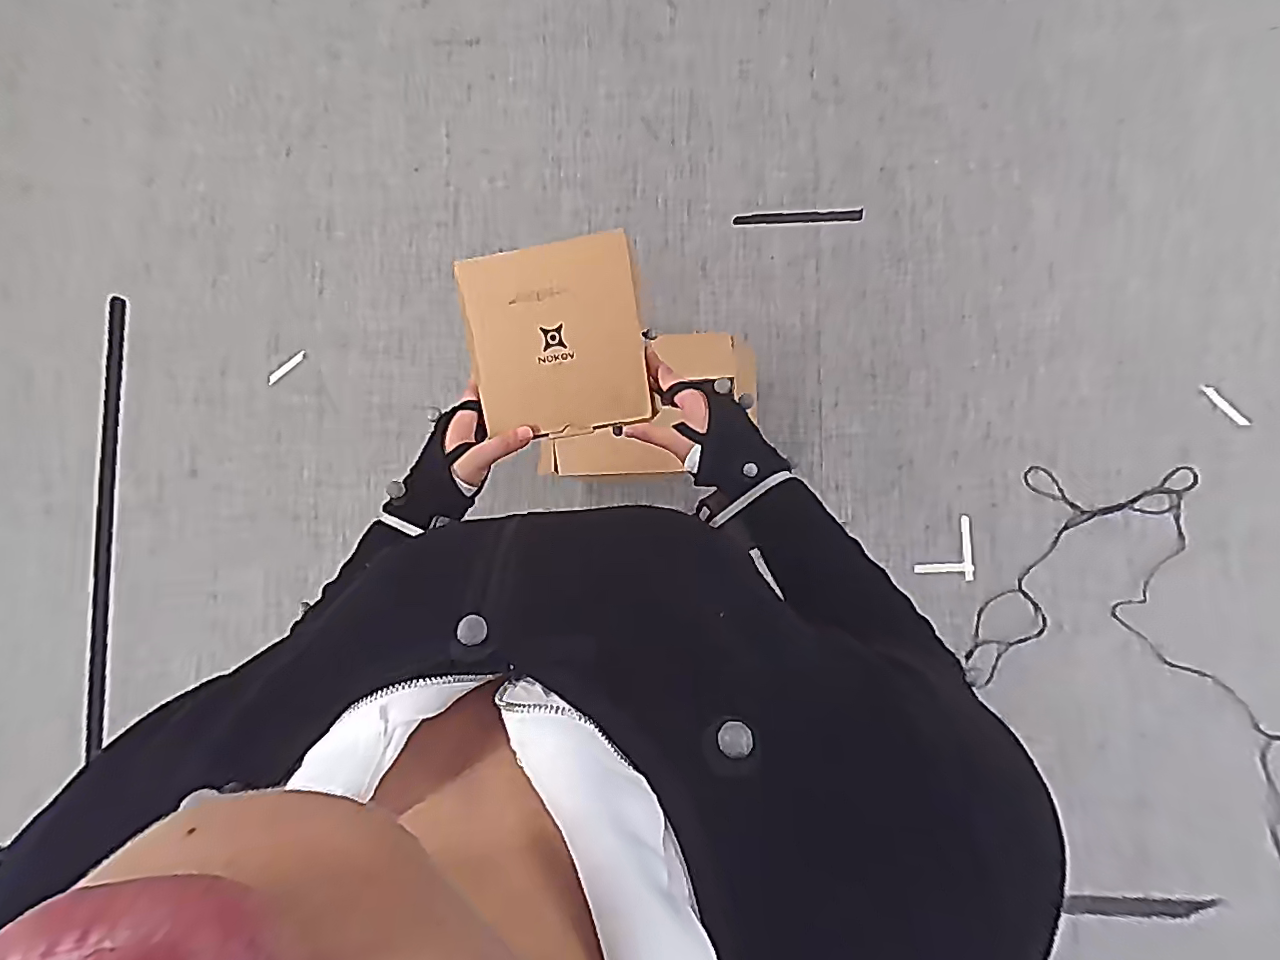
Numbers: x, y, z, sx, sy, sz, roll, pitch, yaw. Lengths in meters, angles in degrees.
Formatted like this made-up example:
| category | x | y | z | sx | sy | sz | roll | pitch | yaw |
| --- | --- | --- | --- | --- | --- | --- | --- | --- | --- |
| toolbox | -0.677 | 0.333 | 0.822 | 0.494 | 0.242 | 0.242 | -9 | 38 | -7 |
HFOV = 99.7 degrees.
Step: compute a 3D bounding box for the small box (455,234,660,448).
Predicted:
| category | x | y | z | sx | sy | sz | roll | pitch | yaw |
| --- | --- | --- | --- | --- | --- | --- | --- | --- | --- |
| small box | -0.072 | -0.140 | 0.582 | 0.168 | 0.176 | 0.179 | -9 | 99 | 5 |
